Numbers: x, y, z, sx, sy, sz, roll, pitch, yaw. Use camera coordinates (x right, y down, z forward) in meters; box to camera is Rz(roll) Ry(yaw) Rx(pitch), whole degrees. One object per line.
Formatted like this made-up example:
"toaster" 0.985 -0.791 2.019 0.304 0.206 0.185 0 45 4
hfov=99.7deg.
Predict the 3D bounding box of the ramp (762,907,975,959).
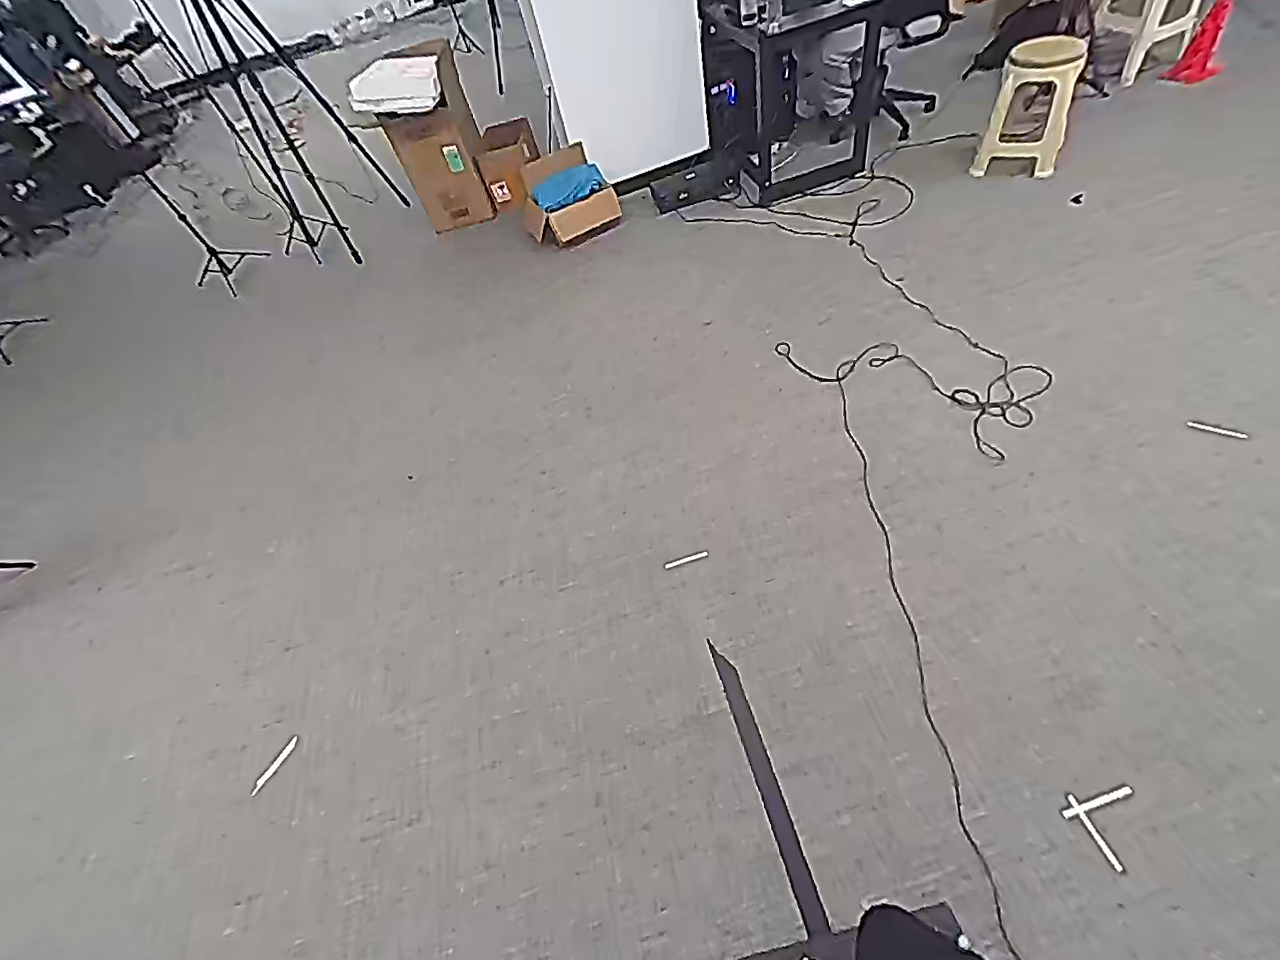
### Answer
"ramp" 0.474 1.239 0.715 0.509 0.206 0.991 -19 50 1
